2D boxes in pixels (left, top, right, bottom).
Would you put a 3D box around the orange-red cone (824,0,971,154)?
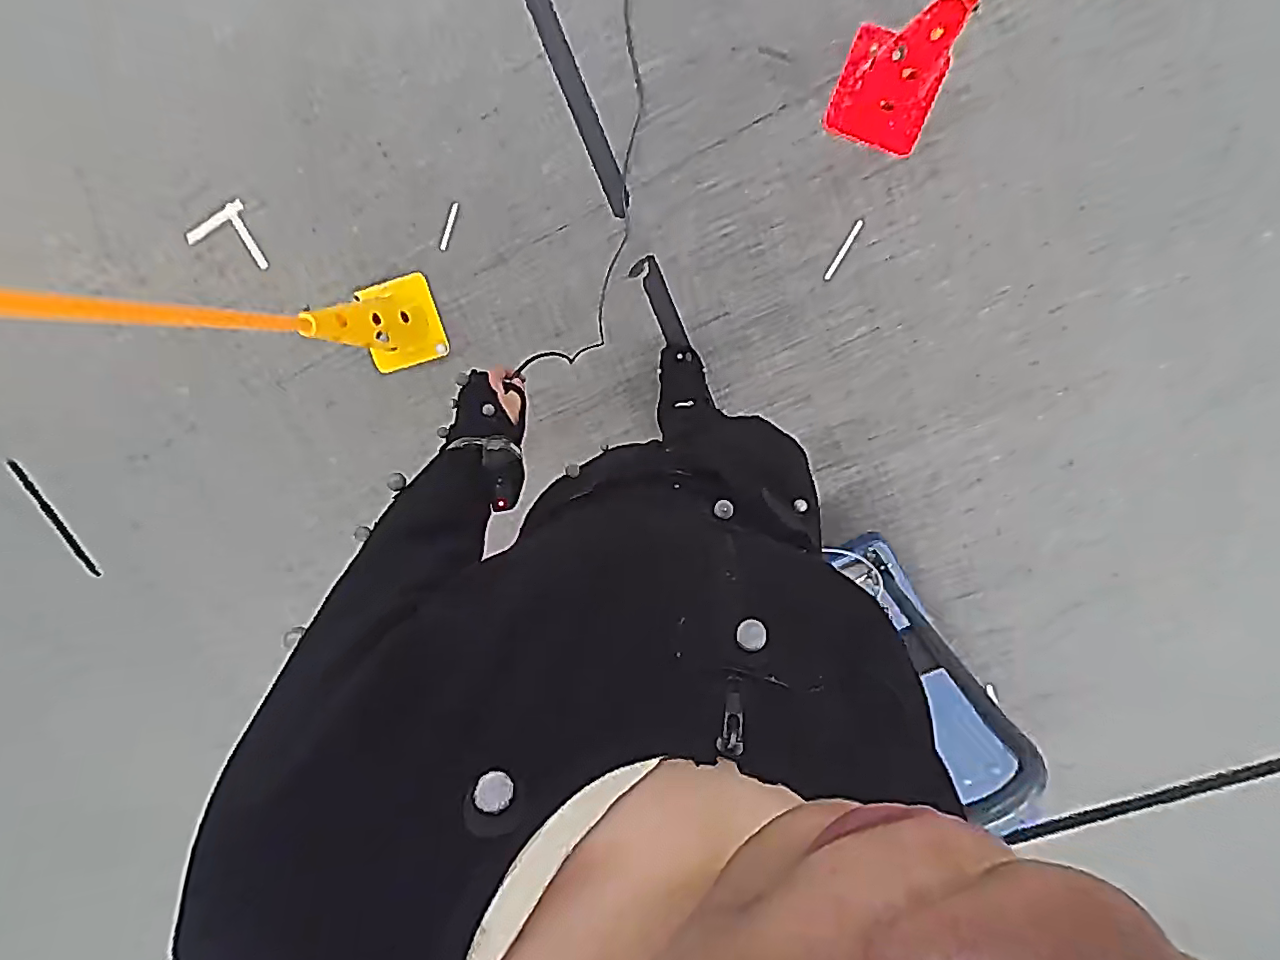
[{"bbox_3d":[0.485,-0.754,0.945,0.198,0.360,0.199,21,107,0],"label":"orange-red cone"}]
